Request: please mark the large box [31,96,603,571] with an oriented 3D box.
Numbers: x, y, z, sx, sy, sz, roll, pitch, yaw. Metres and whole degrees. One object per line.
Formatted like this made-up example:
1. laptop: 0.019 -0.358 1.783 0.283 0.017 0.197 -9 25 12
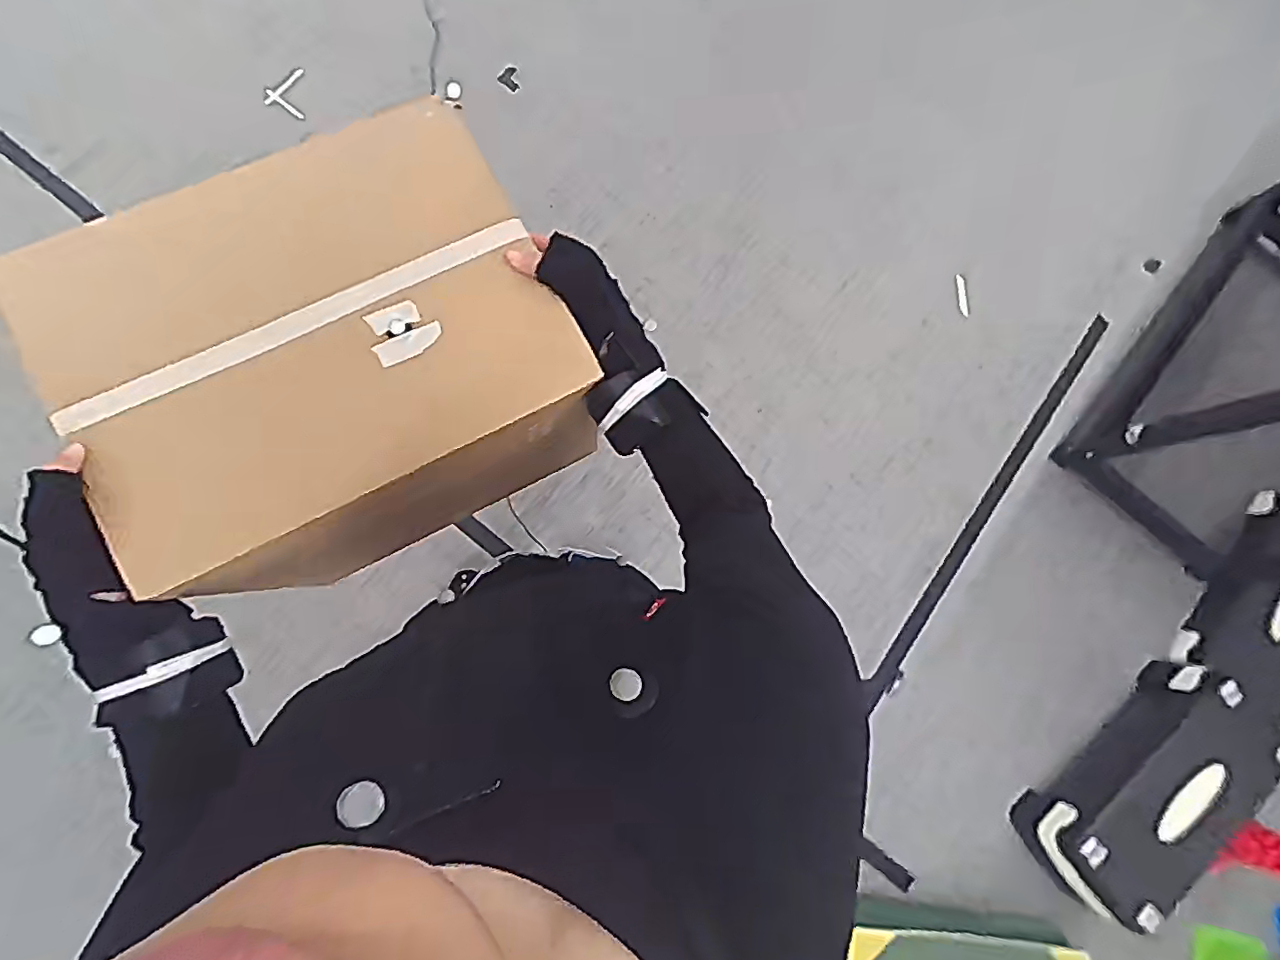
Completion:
1. large box: -0.290 -0.124 0.619 0.408 0.320 0.320 -27 86 -9
